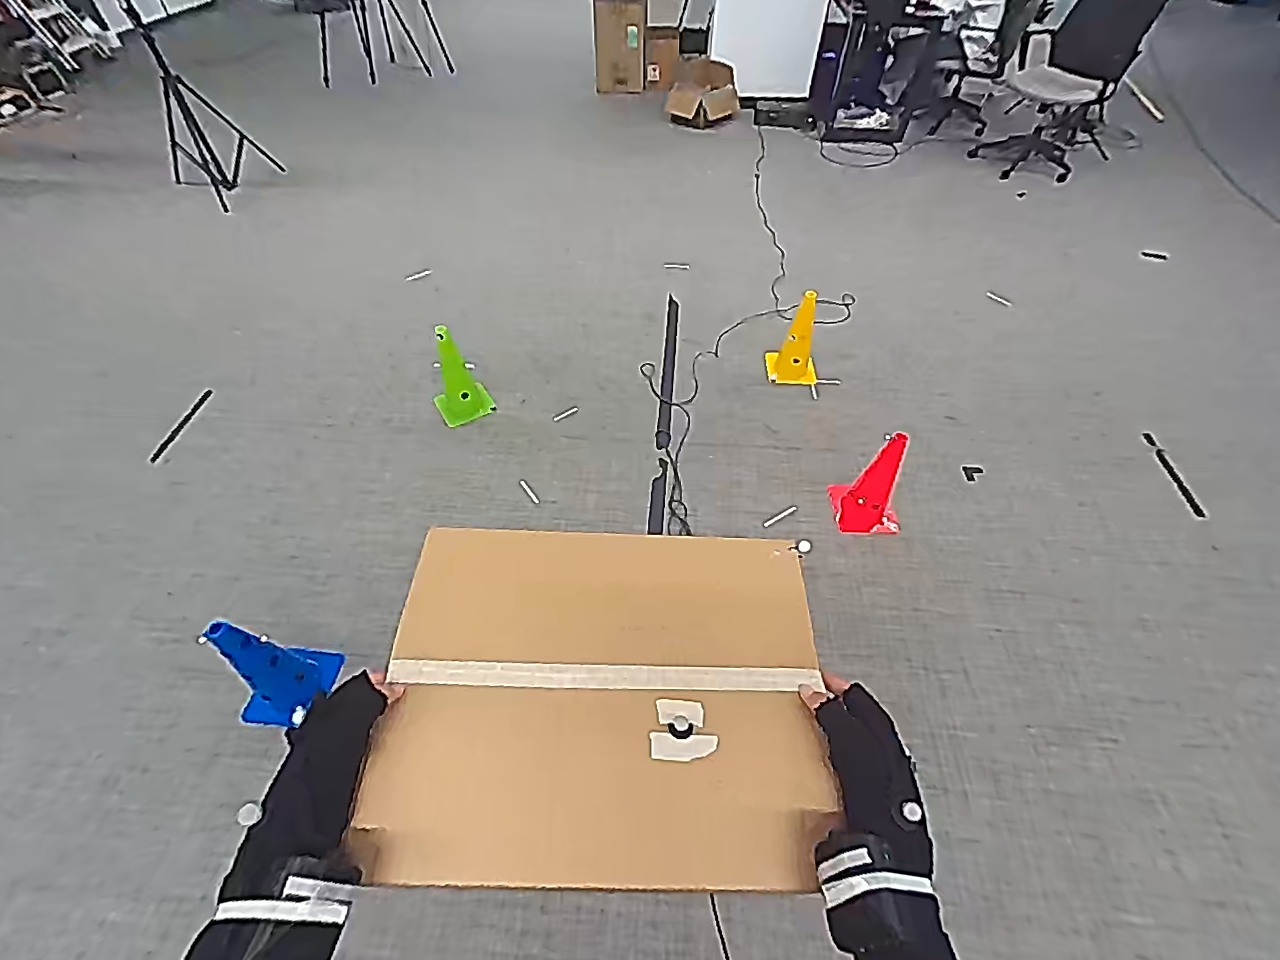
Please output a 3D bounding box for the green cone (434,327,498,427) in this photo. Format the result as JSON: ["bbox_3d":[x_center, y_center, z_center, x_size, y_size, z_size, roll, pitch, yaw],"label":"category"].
[{"bbox_3d":[-0.691,-0.412,2.018,0.202,0.368,0.200,-27,55,-19],"label":"green cone"}]

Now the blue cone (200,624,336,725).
[{"bbox_3d":[-0.932,0.449,1.324,0.192,0.380,0.193,5,50,5],"label":"blue cone"}]

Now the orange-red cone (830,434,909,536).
[{"bbox_3d":[0.757,-0.007,1.700,0.198,0.360,0.199,2,49,0],"label":"orange-red cone"}]

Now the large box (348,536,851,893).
[{"bbox_3d":[-0.037,0.282,0.628,0.408,0.320,0.320,3,53,-2],"label":"large box"}]
